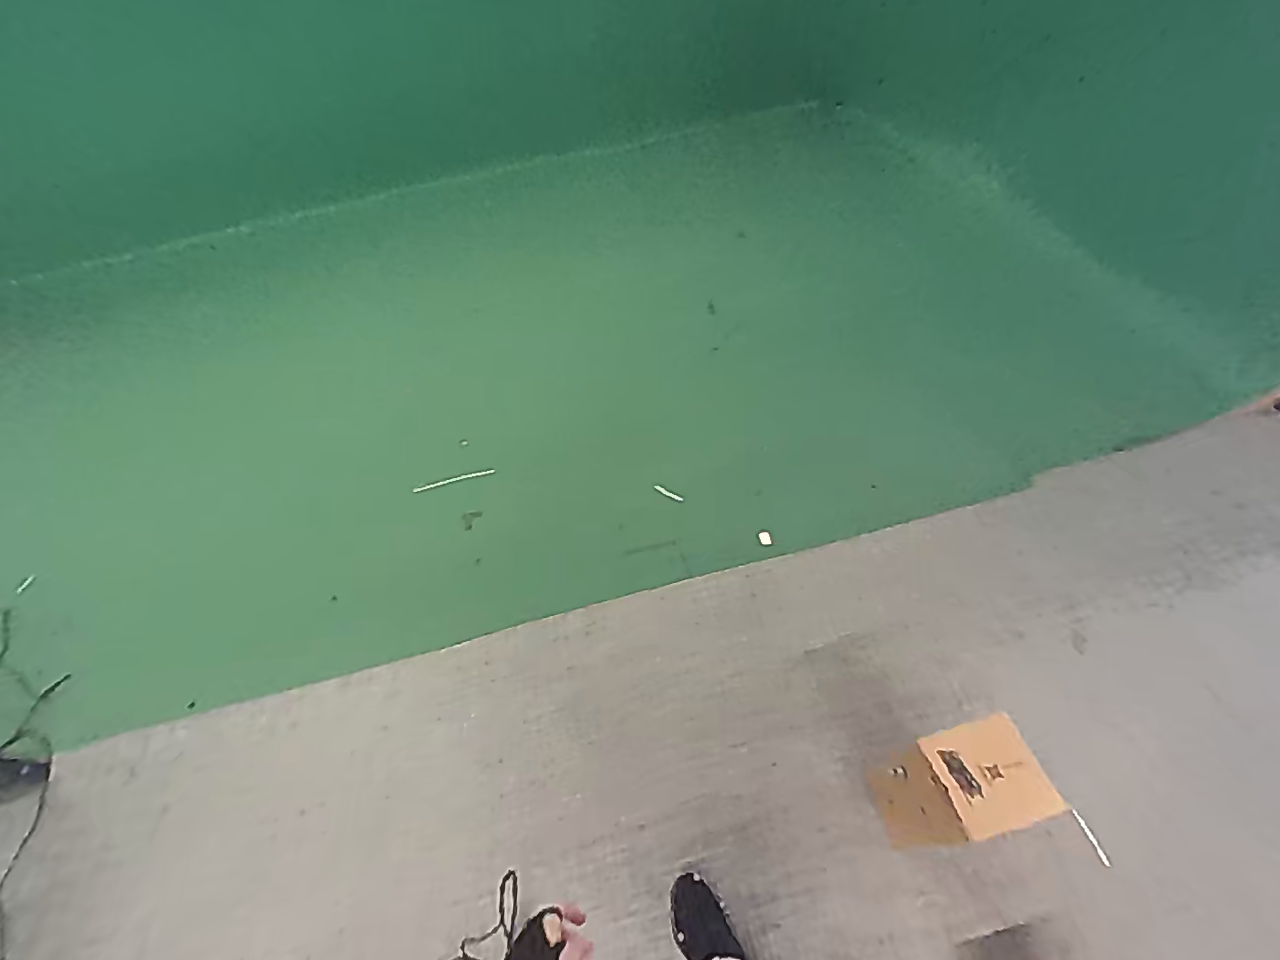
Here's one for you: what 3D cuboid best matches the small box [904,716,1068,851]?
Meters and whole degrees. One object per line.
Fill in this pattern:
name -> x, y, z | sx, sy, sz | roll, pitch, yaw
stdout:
small box -> 0.613, 0.562, 0.993 | 0.179, 0.176, 0.168 | -15, 53, -5

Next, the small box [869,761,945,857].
small box -> 0.661, 0.754, 1.256 | 0.168, 0.176, 0.179 | -14, 55, -3
